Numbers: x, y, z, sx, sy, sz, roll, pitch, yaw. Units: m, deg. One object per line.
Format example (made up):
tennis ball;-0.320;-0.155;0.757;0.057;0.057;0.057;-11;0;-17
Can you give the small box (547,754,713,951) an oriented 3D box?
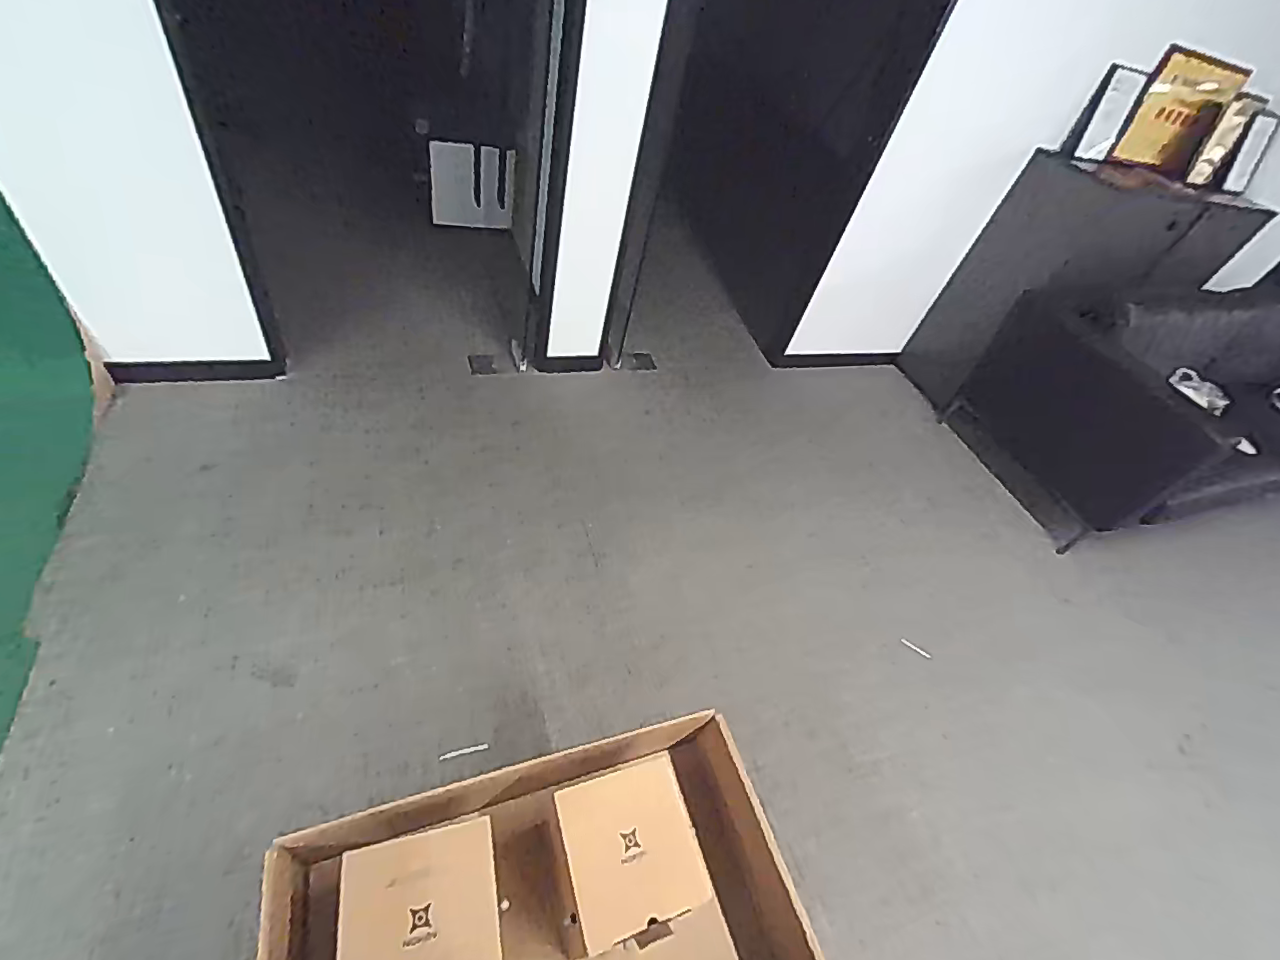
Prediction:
small box;-0.027;0.513;0.748;0.168;0.176;0.179;-8;52;-21
